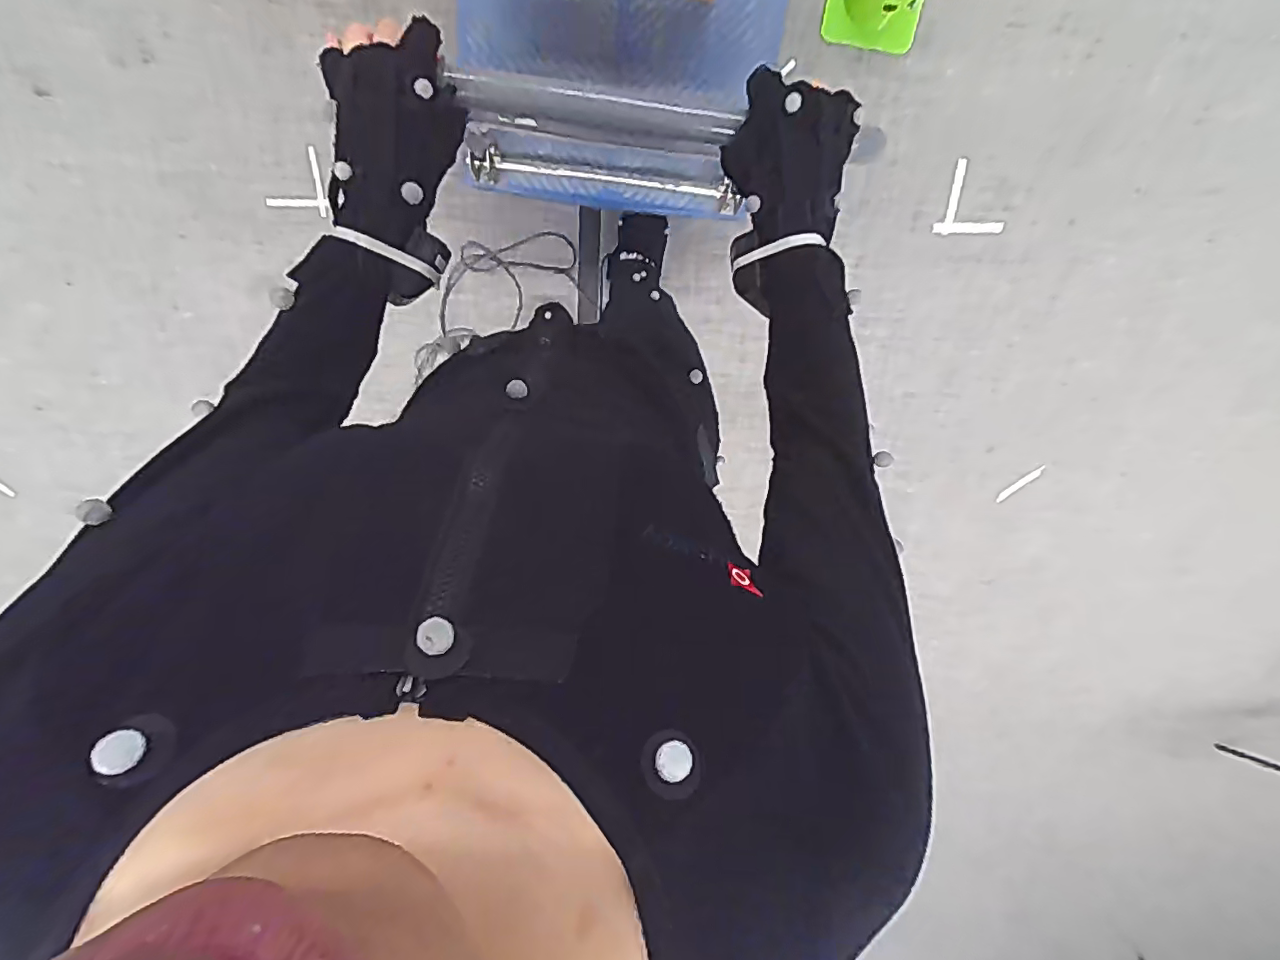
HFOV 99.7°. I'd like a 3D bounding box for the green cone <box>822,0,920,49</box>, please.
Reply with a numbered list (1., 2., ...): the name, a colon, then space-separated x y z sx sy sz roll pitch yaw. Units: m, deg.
1. green cone: 0.494 -0.935 0.943 0.202 0.368 0.200 4 116 -7
